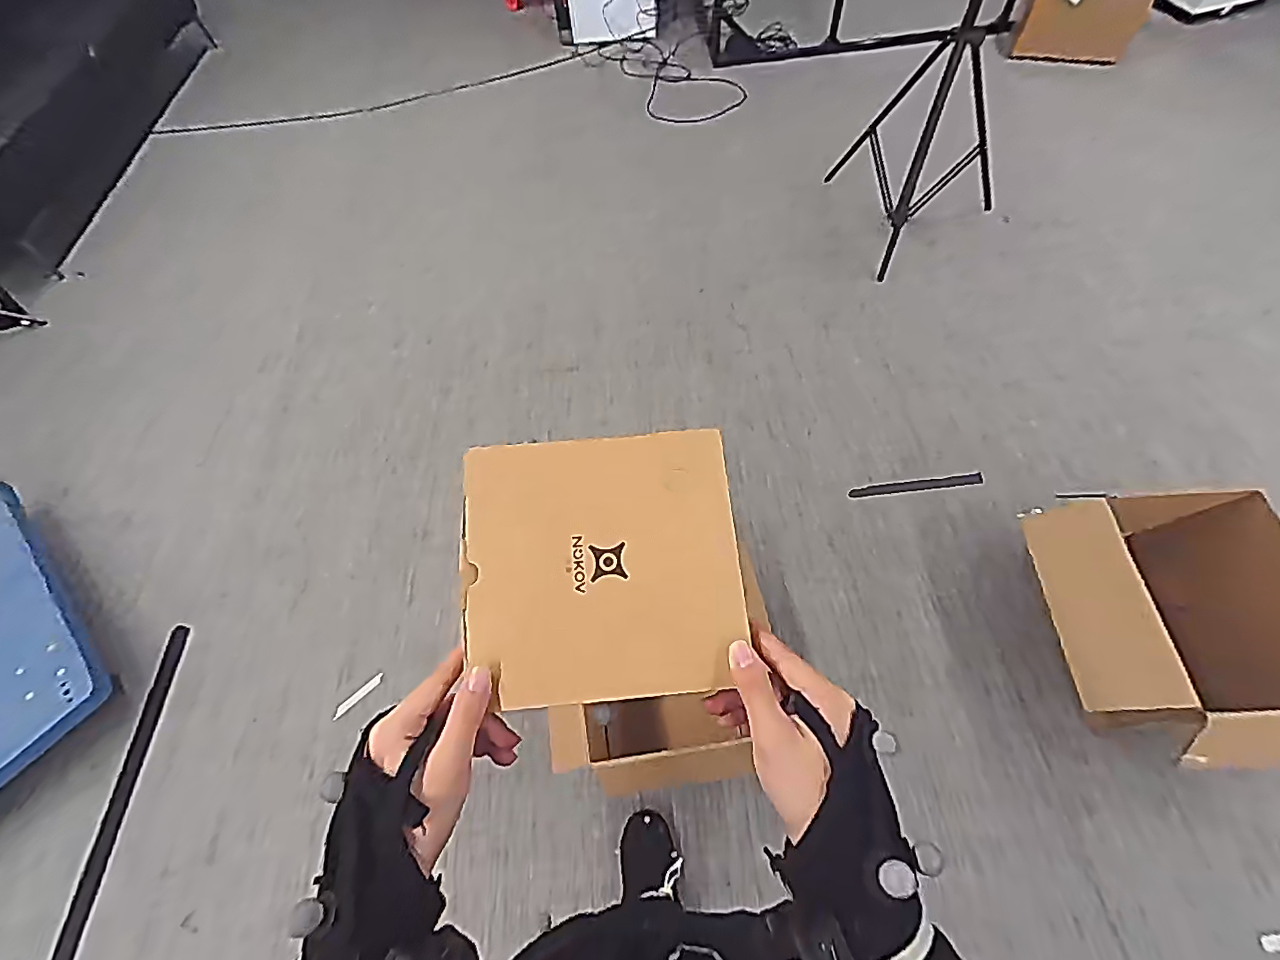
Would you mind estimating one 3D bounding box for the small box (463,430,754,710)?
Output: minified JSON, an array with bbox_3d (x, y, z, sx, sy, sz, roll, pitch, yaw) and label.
[{"bbox_3d":[-0.024,0.072,0.418,0.179,0.176,0.168,-6,73,-1],"label":"small box"}]
